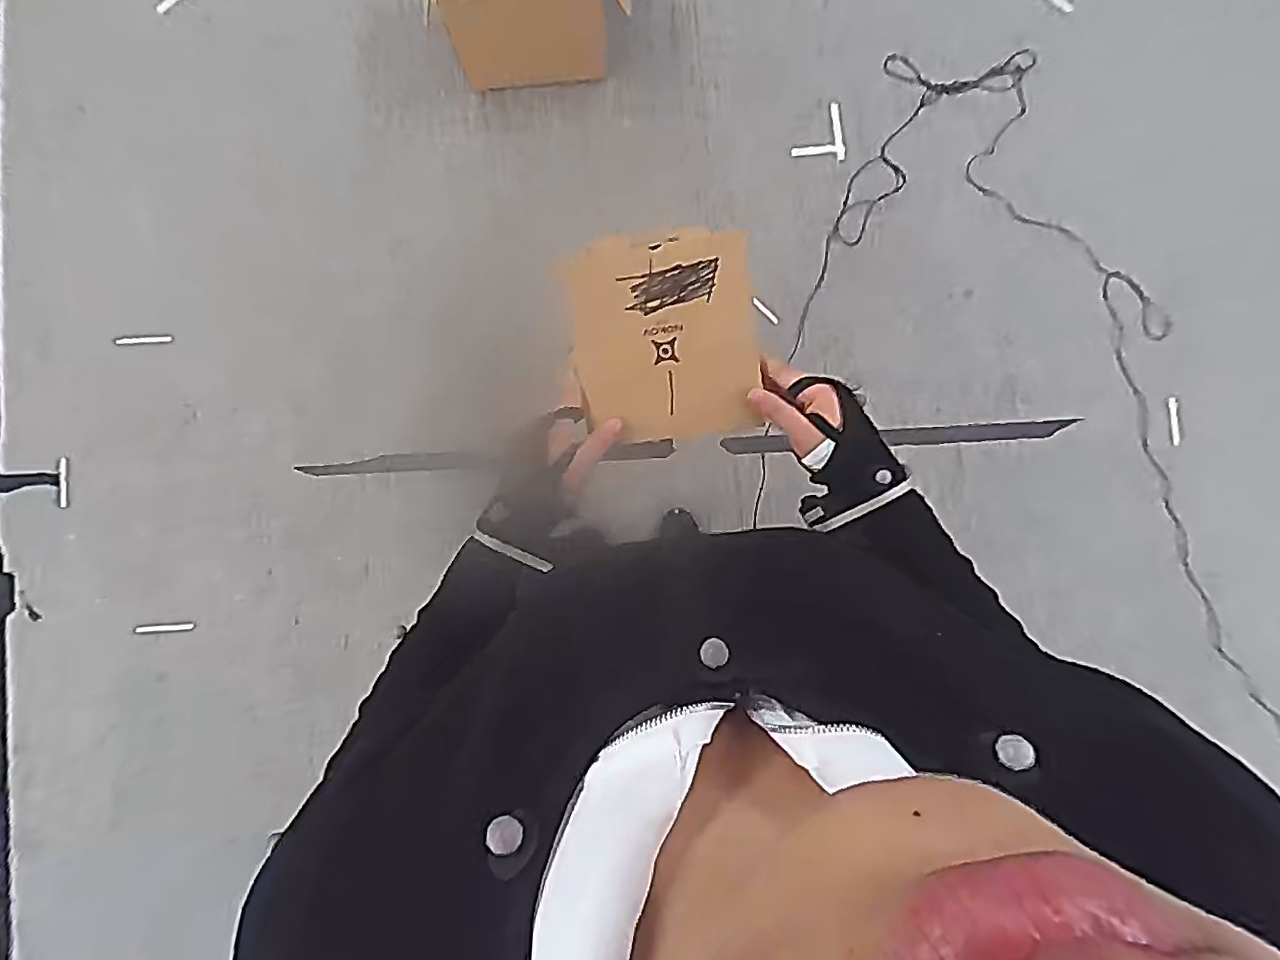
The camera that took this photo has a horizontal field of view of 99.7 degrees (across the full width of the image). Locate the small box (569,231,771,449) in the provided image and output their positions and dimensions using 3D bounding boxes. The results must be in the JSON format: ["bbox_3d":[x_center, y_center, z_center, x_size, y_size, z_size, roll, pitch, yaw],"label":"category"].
[{"bbox_3d":[0.027,-0.131,0.556,0.168,0.176,0.179,-8,98,1],"label":"small box"}]
